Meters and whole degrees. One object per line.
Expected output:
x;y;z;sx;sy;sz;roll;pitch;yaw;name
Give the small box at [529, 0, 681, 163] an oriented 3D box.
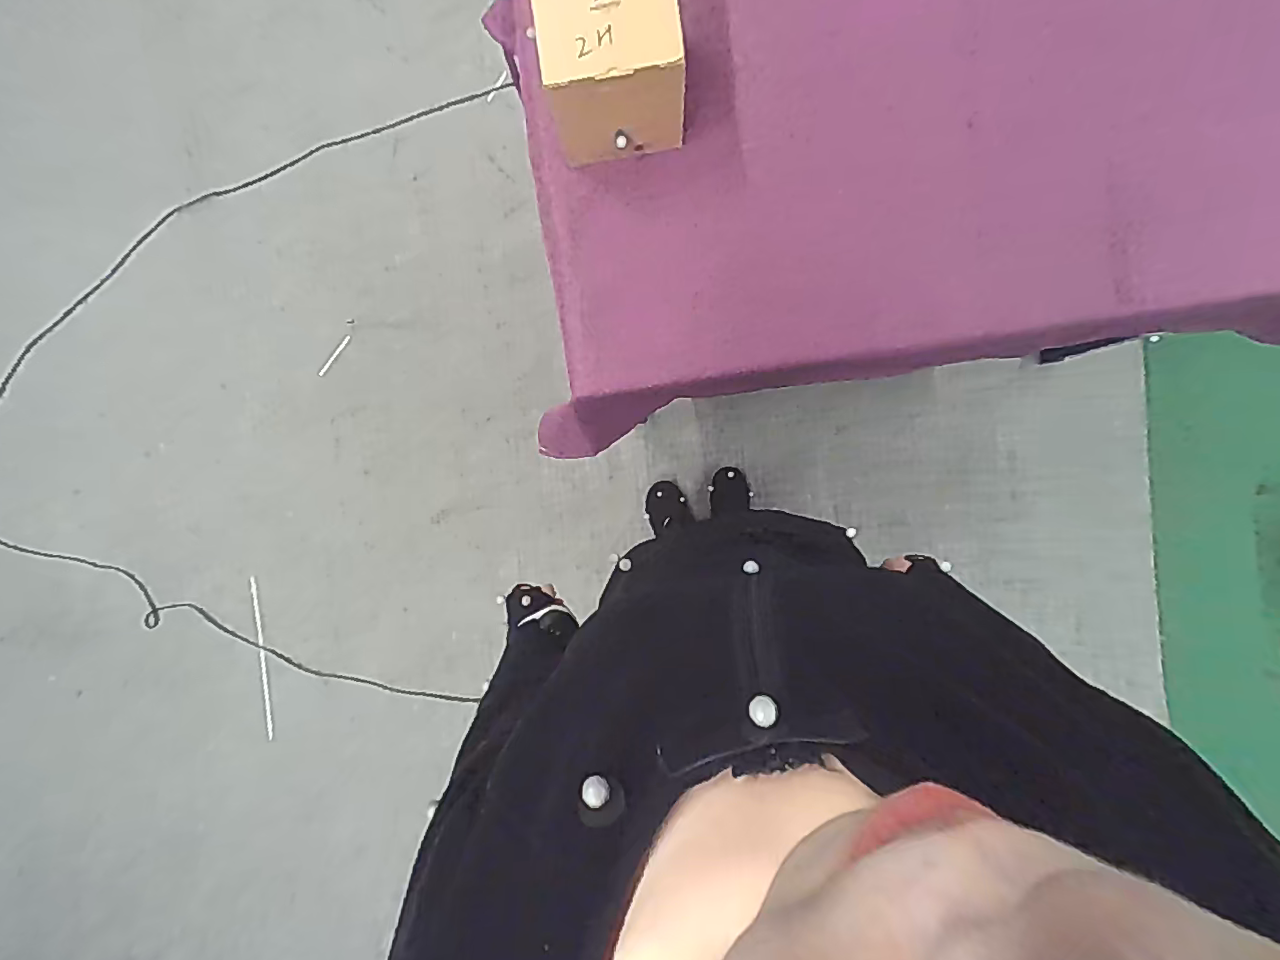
-0.041;-0.549;0.694;0.168;0.176;0.179;-8;91;4;small box
